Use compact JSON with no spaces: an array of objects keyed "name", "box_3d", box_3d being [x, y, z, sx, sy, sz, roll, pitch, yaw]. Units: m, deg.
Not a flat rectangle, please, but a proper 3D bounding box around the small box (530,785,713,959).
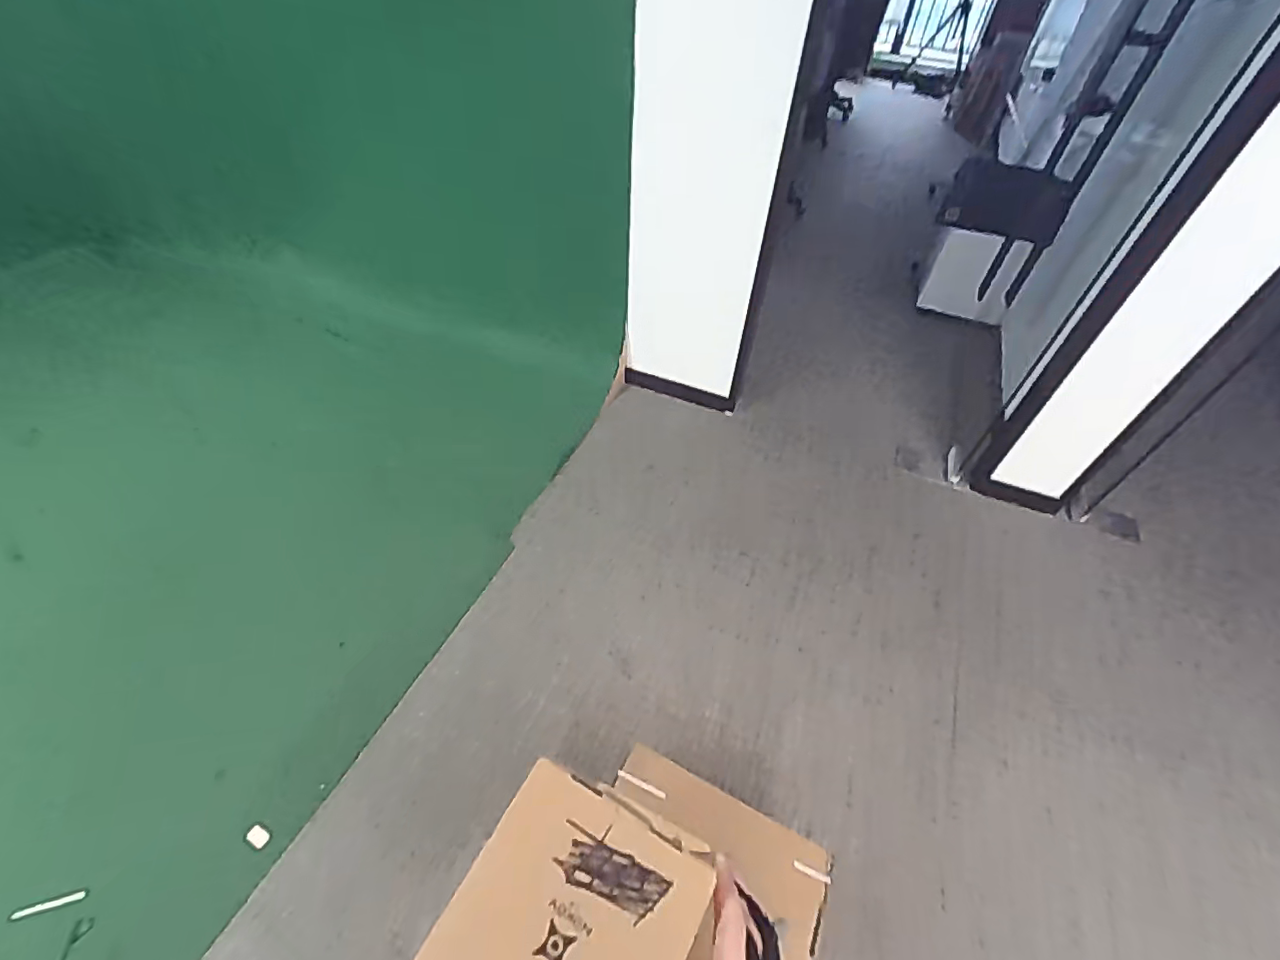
[{"name":"small box","box_3d":[-0.023,0.546,0.708,0.168,0.176,0.179,23,50,17]}]
